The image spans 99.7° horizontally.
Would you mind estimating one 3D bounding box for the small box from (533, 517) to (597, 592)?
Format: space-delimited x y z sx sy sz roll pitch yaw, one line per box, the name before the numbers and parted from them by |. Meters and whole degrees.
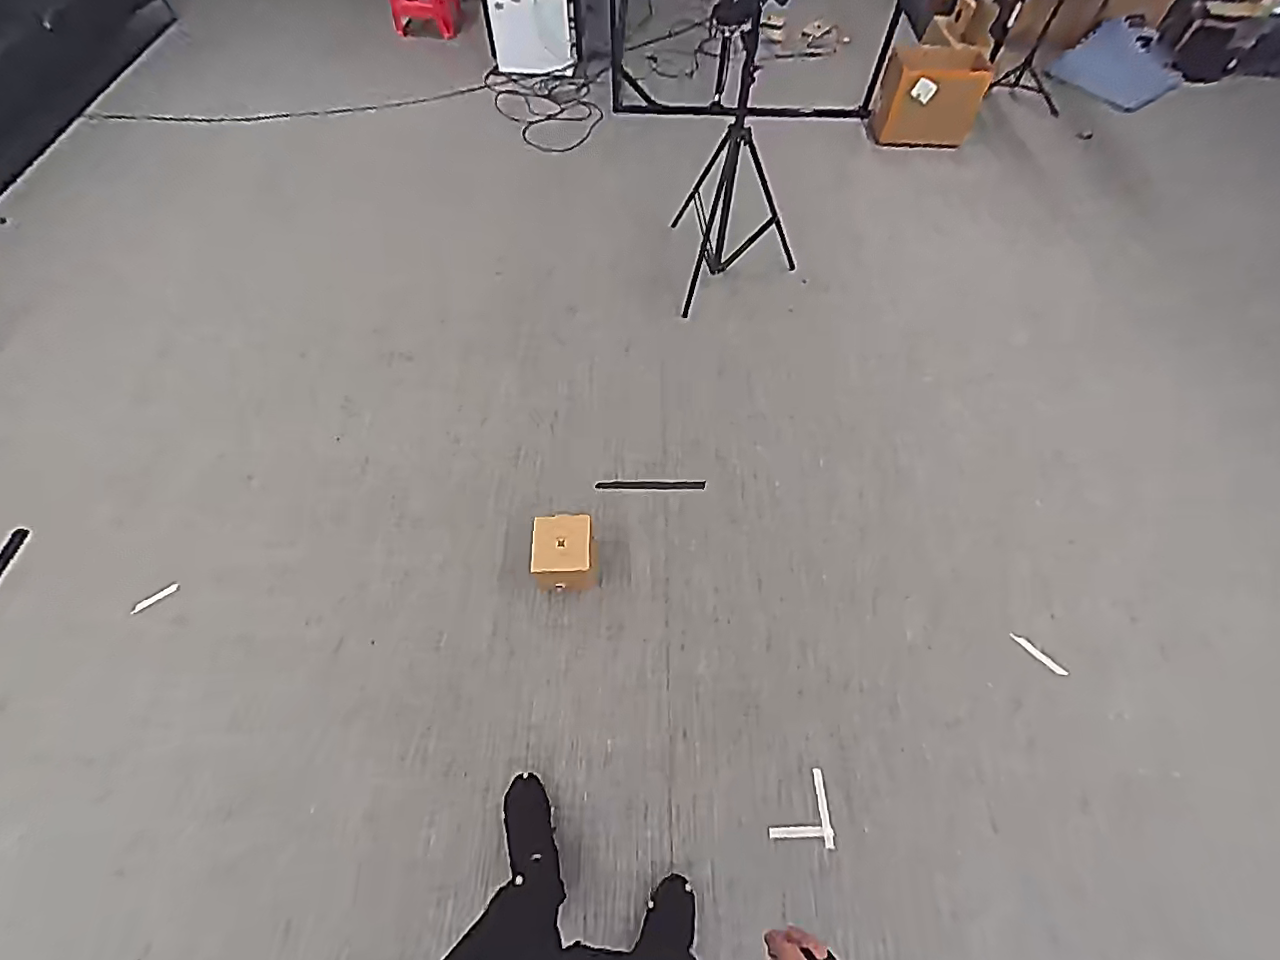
small box | -0.218 0.224 1.616 0.168 0.176 0.179 -2 60 -1
